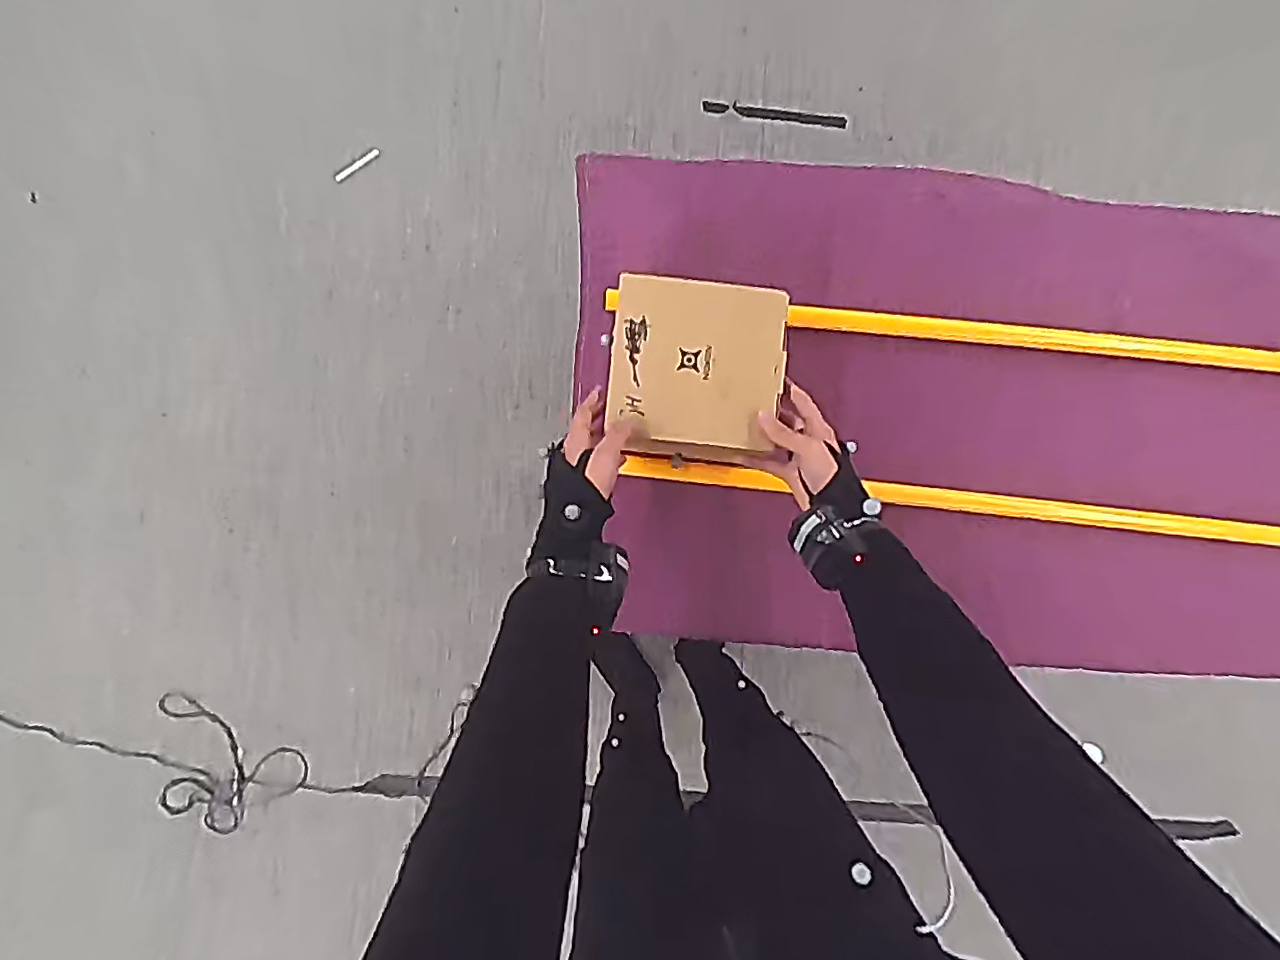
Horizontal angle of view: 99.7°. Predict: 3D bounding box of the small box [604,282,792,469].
[{"bbox_3d":[0.056,-0.105,0.619,0.179,0.176,0.168,6,87,-2],"label":"small box"}]
